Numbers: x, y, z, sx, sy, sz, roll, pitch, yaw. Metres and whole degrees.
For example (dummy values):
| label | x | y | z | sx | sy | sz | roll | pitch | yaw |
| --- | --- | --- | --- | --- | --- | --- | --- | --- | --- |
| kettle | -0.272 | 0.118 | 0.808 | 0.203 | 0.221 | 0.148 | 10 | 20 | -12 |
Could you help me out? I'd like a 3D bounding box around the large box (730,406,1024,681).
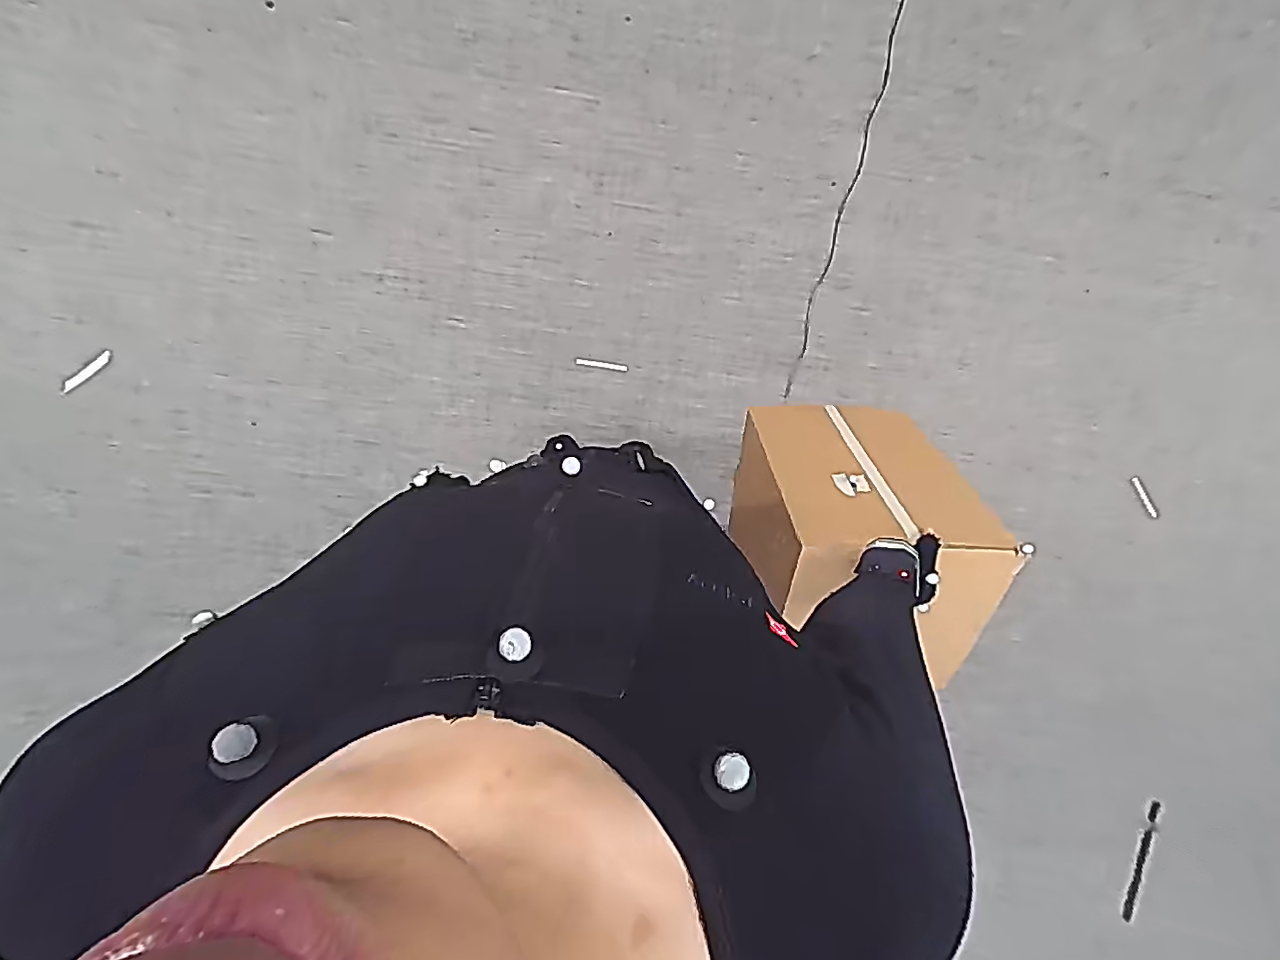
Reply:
| label | x | y | z | sx | sy | sz | roll | pitch | yaw |
| --- | --- | --- | --- | --- | --- | --- | --- | --- | --- |
| large box | 0.366 | 0.101 | 0.984 | 0.320 | 0.408 | 0.320 | 1 | 127 | -2 |
